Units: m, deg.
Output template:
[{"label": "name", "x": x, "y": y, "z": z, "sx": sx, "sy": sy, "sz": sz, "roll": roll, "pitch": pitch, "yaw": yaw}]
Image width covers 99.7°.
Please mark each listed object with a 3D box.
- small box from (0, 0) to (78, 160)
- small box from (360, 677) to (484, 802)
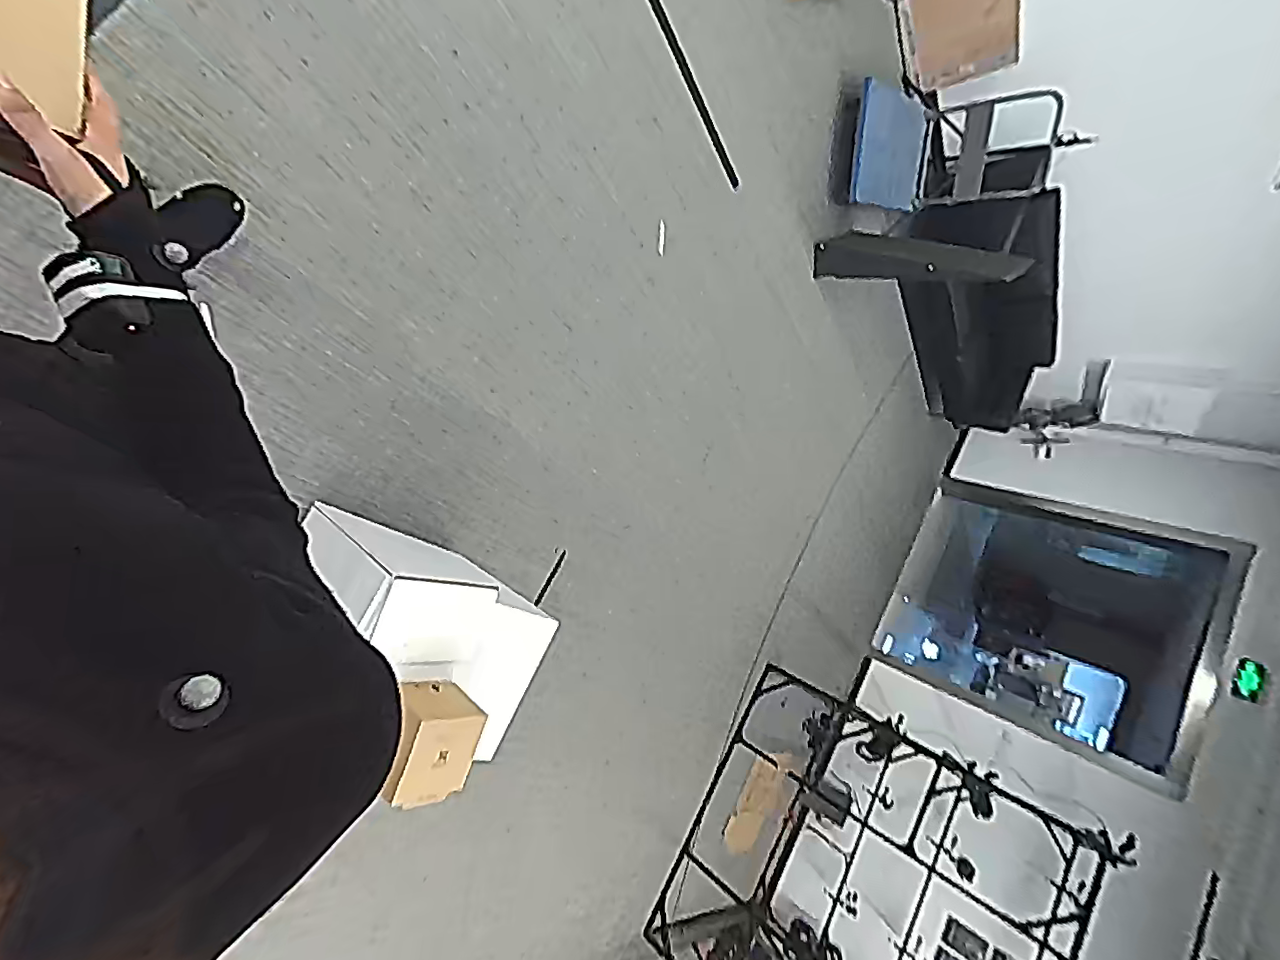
[{"label": "small box", "x": -0.567, "y": -0.367, "z": 0.403, "sx": 0.179, "sy": 0.176, "sz": 0.168, "roll": -1, "pitch": 98, "yaw": -58}, {"label": "small box", "x": -0.475, "y": 0.547, "z": 1.166, "sx": 0.168, "sy": 0.176, "sz": 0.179, "roll": 24, "pitch": 86, "yaw": -50}]
